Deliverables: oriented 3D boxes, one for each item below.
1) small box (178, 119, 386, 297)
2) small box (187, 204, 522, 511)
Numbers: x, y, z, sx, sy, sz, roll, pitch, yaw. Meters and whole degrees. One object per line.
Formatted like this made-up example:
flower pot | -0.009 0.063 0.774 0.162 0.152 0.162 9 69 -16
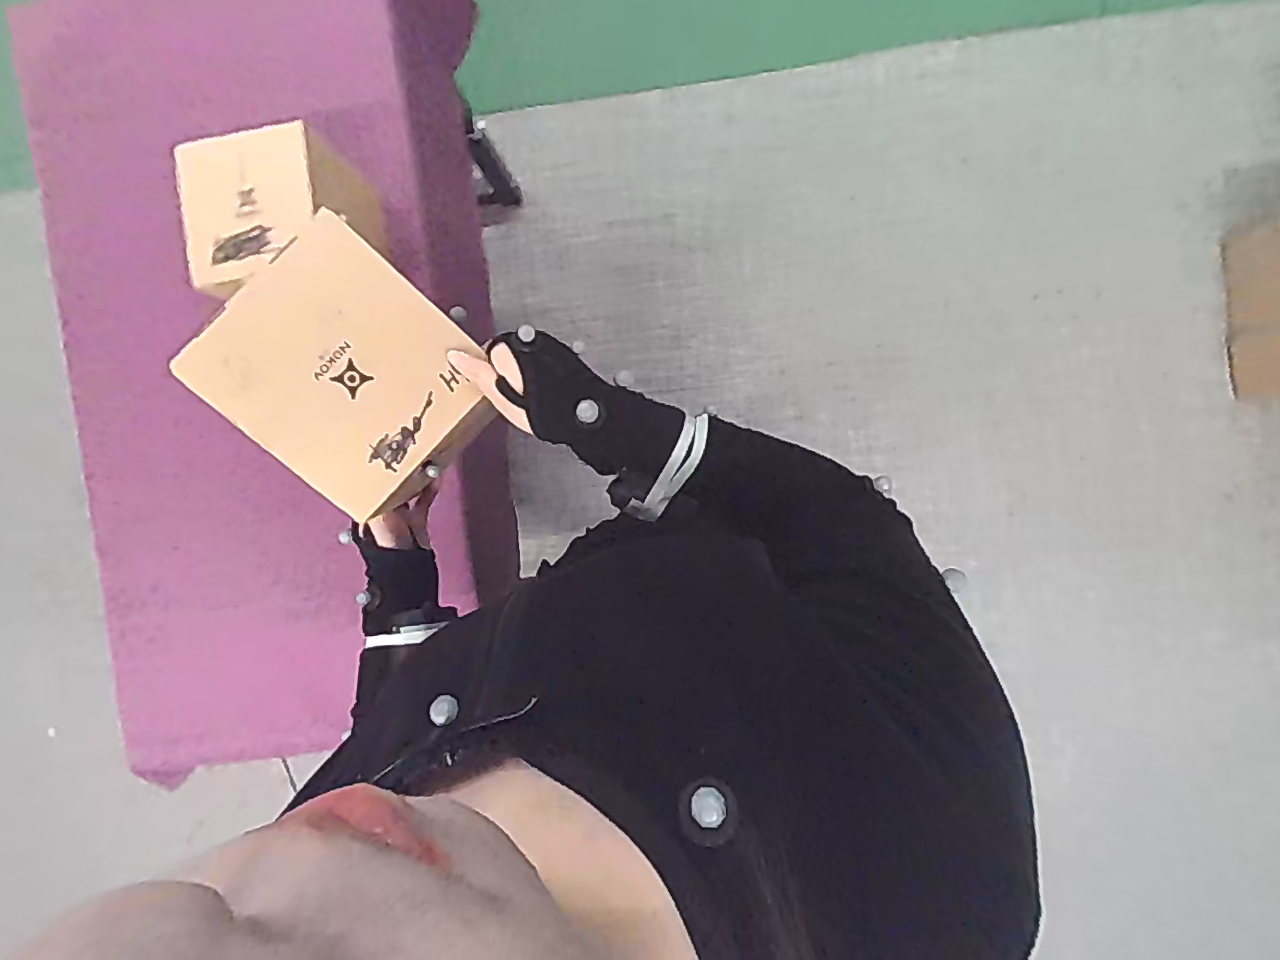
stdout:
small box | -0.458 -0.333 0.724 0.168 0.176 0.179 -7 90 5
small box | -0.228 -0.097 0.489 0.168 0.176 0.179 -45 100 -1
